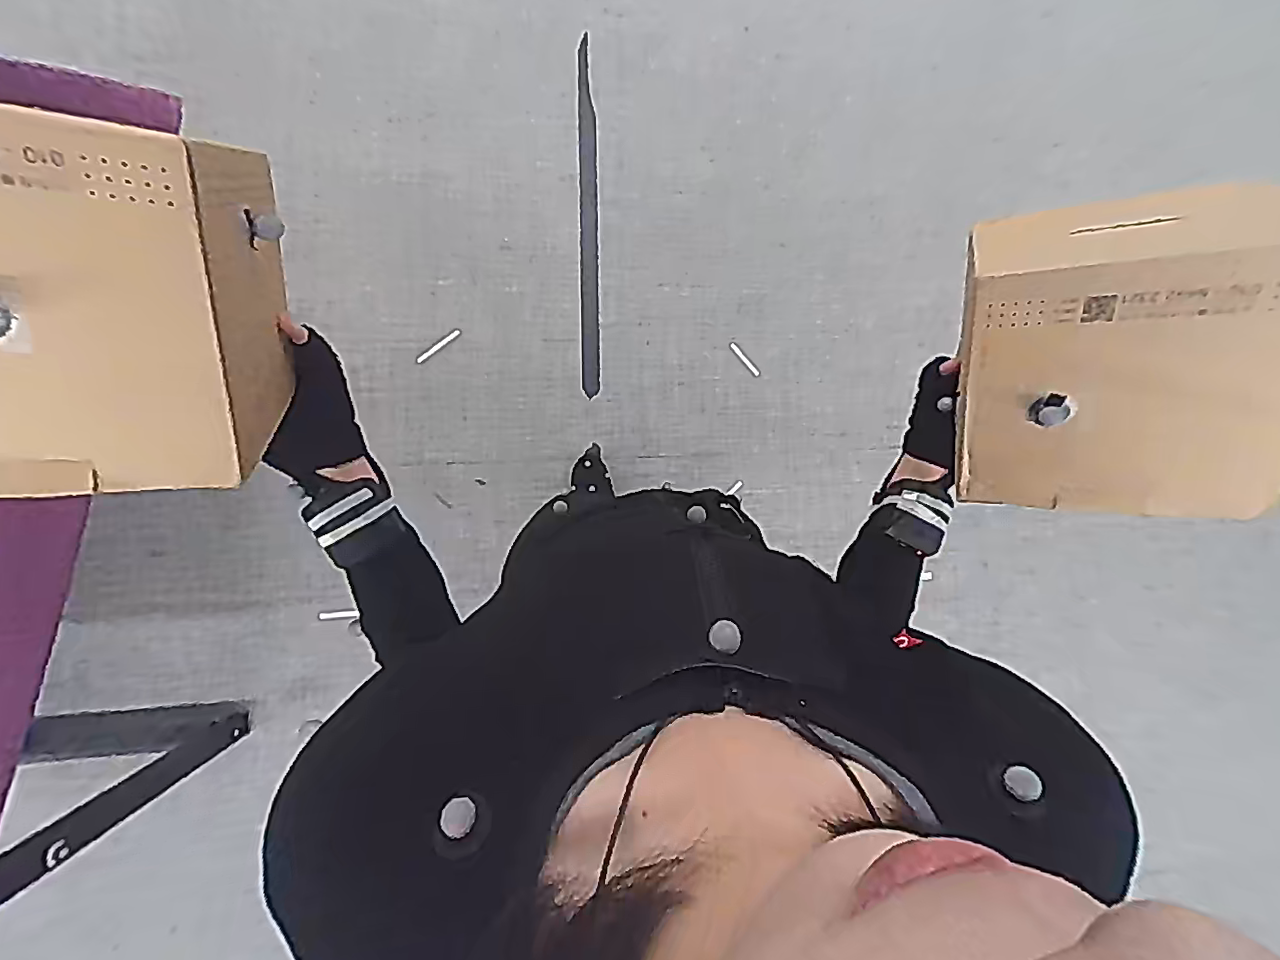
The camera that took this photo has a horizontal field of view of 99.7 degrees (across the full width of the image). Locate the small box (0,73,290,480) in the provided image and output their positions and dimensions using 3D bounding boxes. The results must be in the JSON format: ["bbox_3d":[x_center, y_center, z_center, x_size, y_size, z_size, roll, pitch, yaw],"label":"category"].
[{"bbox_3d":[-0.303,-0.111,0.283,0.168,0.179,0.176,-1,117,-22],"label":"small box"}]

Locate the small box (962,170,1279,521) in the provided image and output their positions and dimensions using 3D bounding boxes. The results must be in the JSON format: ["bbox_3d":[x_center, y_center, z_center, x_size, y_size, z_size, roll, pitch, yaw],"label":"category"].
[{"bbox_3d":[0.322,-0.095,0.369,0.168,0.179,0.176,5,125,28],"label":"small box"}]
